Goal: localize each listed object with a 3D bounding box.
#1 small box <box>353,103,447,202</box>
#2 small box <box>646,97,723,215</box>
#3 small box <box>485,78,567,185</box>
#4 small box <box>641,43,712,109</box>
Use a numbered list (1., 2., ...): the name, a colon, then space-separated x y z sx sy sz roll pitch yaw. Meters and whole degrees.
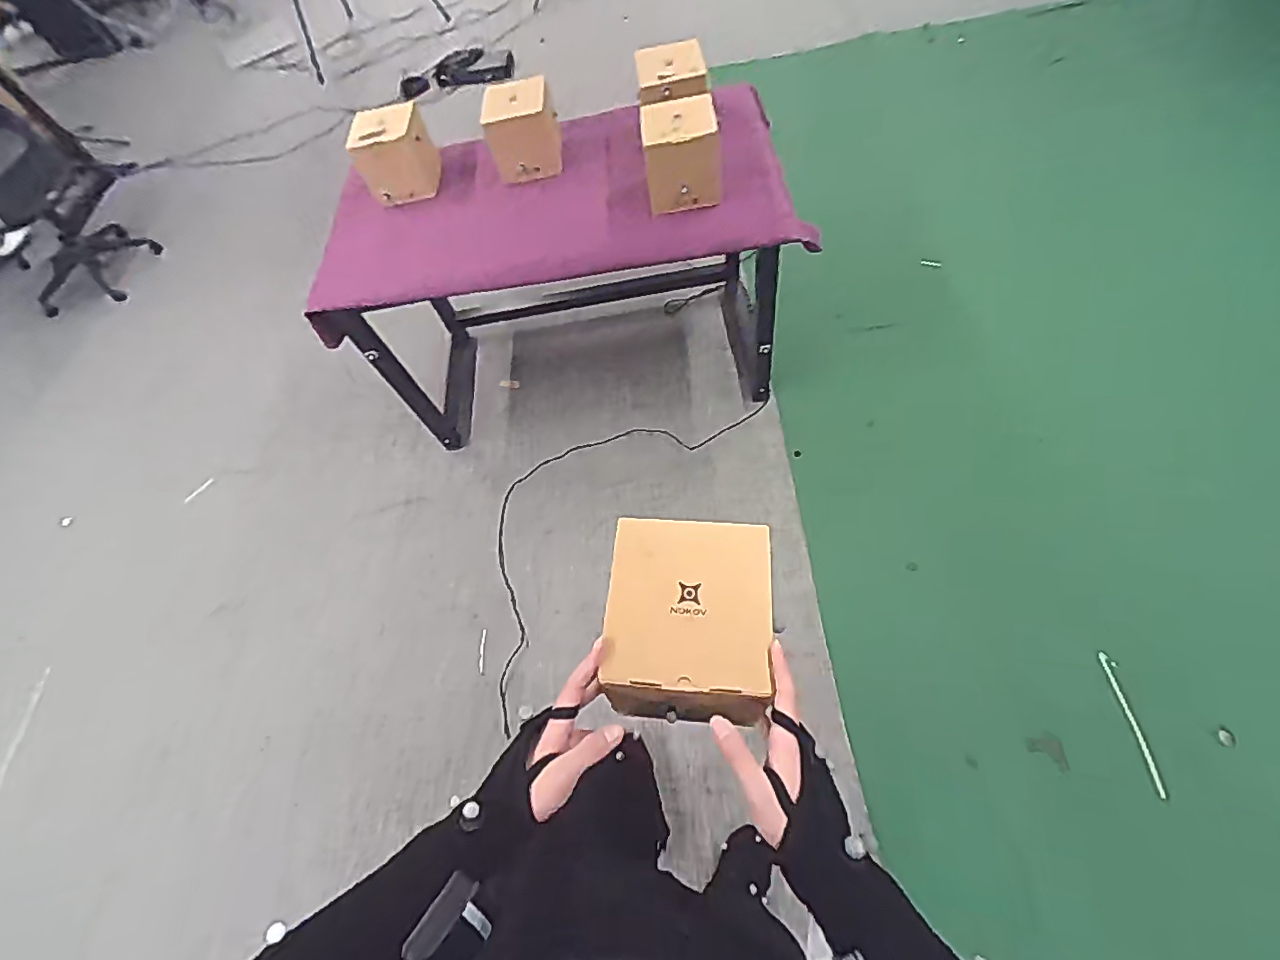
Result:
1. small box: -0.652 -0.892 1.490 0.168 0.176 0.179 -7 60 5
2. small box: 0.107 -0.764 1.282 0.168 0.176 0.179 -6 59 8
3. small box: -0.298 -0.931 1.452 0.168 0.176 0.179 -7 61 7
4. small box: 0.099 -0.992 1.413 0.168 0.176 0.179 -8 61 7
